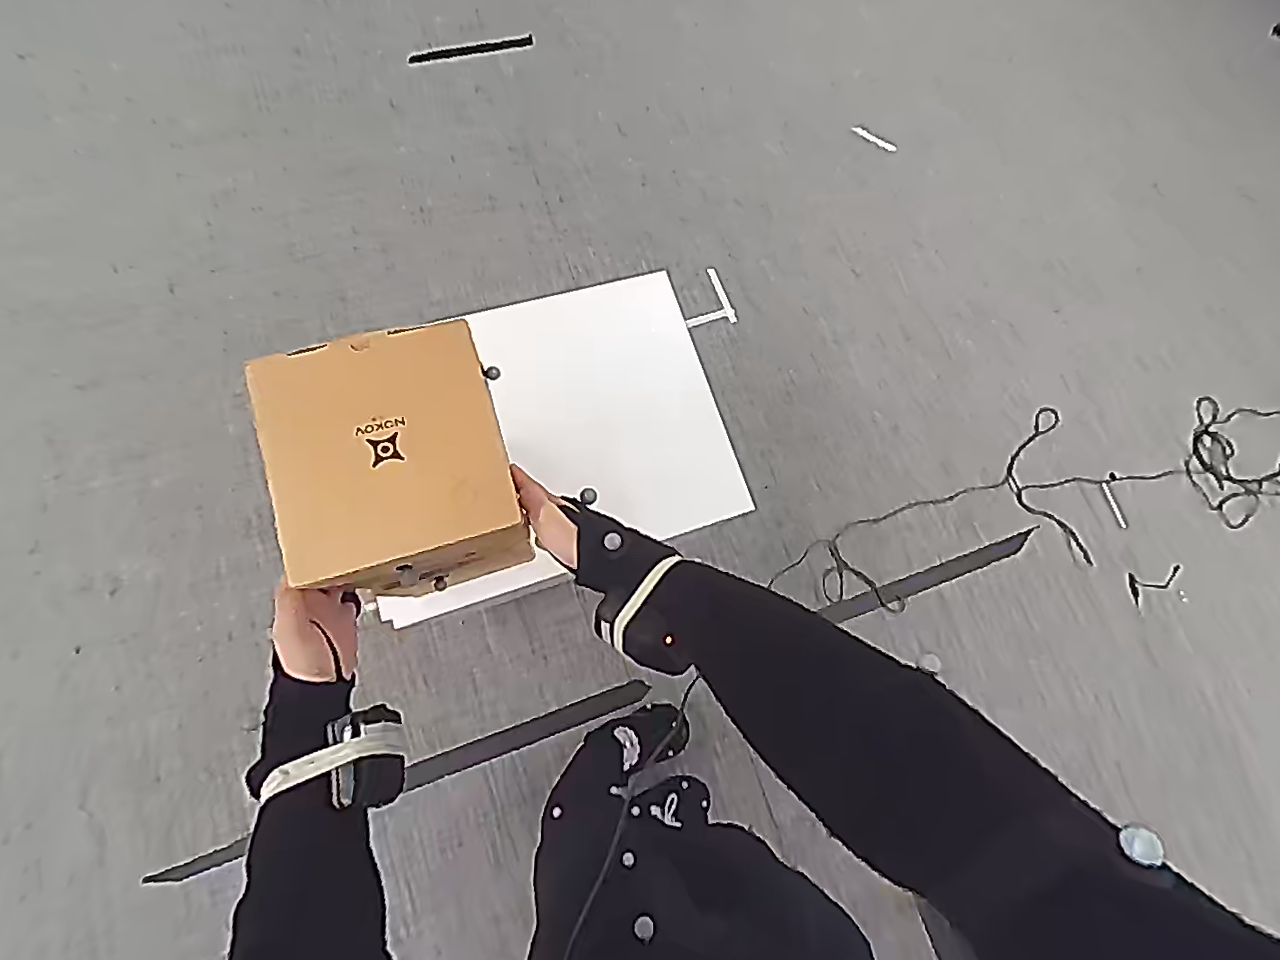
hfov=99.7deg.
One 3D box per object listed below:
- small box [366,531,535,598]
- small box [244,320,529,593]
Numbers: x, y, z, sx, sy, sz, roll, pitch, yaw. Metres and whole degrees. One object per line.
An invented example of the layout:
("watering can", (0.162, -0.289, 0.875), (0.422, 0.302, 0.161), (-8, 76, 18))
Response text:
("small box", (-0.226, 0.030, 0.635), (0.168, 0.176, 0.179), (-17, 80, -12))
("small box", (-0.201, -0.009, 0.478), (0.168, 0.176, 0.179), (-16, 81, -12))
